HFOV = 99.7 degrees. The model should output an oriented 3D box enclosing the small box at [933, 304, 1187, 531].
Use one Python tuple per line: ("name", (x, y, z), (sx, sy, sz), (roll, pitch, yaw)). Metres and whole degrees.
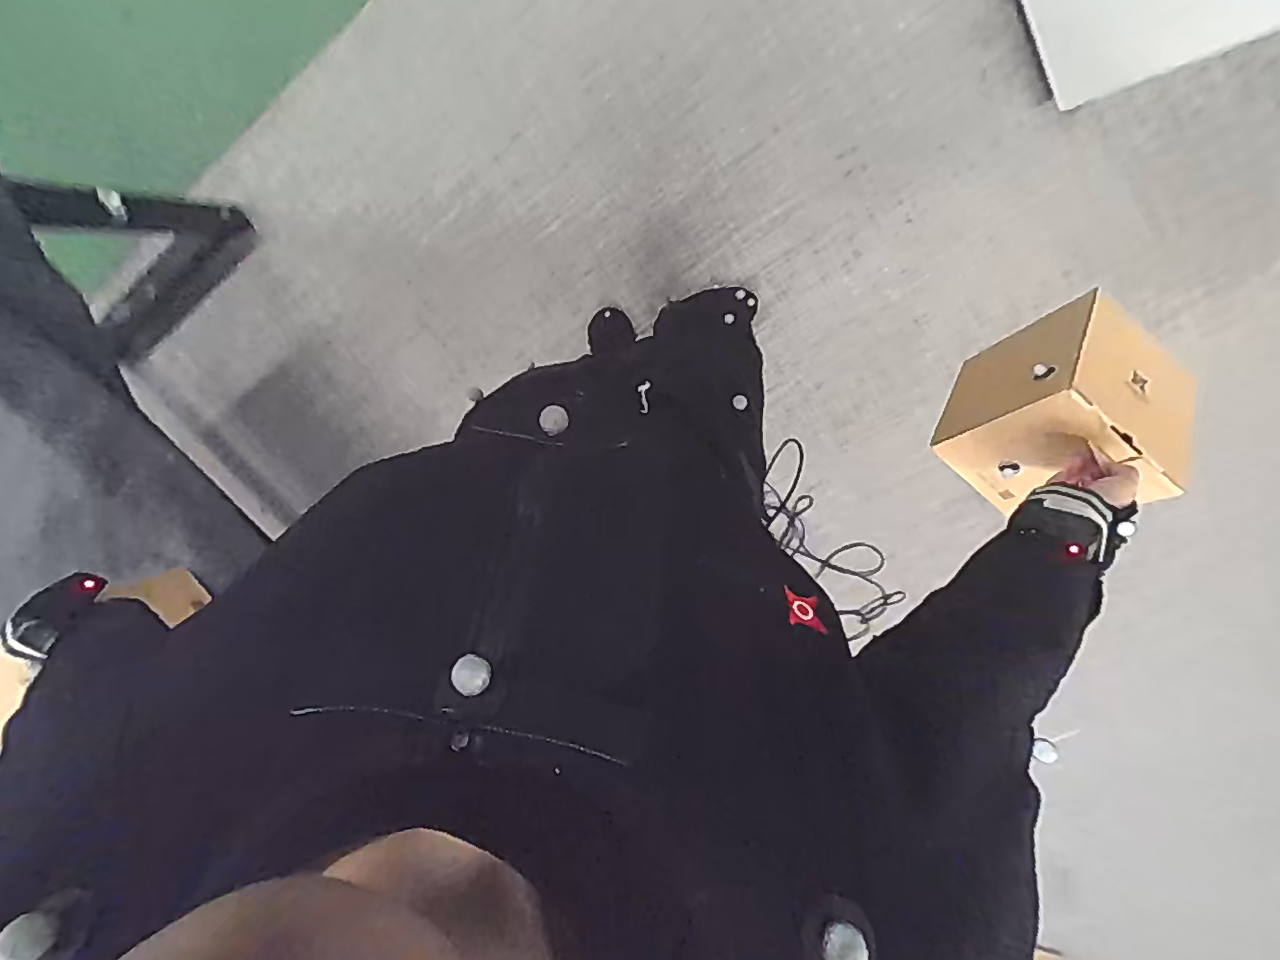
("small box", (0.489, -0.064, 0.644), (0.168, 0.179, 0.176), (40, 154, -6))
